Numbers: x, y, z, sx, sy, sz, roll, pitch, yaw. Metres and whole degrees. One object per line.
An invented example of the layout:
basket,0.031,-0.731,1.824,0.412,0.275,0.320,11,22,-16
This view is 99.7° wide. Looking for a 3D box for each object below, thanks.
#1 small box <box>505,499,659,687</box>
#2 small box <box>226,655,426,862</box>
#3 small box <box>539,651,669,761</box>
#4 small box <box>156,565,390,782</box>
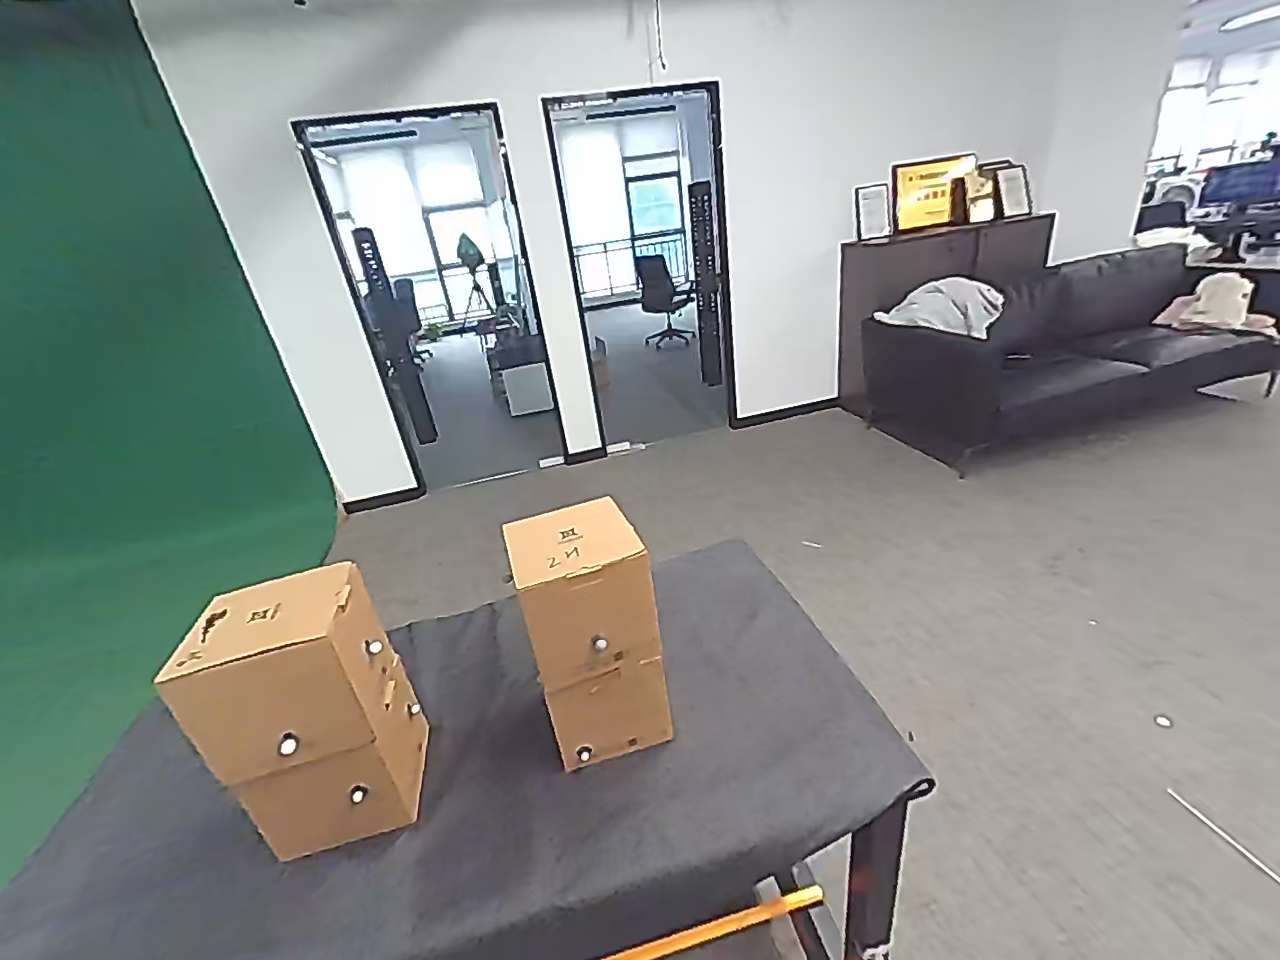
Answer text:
small box,-0.083,0.151,0.760,0.168,0.176,0.179,-15,26,-14
small box,-0.416,0.383,0.758,0.179,0.176,0.168,-13,24,-9
small box,-0.060,0.298,0.831,0.168,0.176,0.179,-12,24,-10
small box,-0.436,0.237,0.684,0.179,0.176,0.168,-13,24,-12
